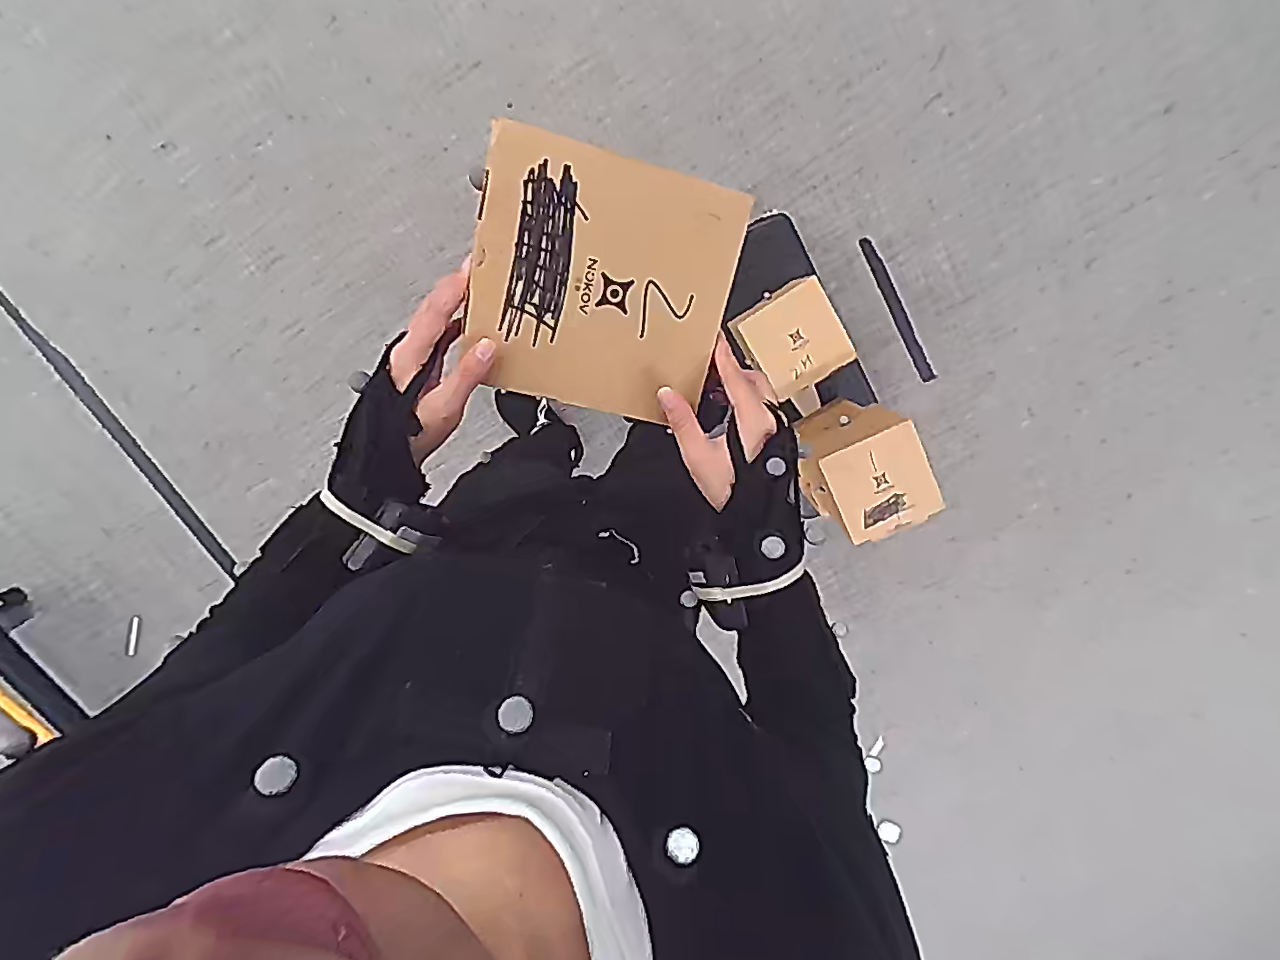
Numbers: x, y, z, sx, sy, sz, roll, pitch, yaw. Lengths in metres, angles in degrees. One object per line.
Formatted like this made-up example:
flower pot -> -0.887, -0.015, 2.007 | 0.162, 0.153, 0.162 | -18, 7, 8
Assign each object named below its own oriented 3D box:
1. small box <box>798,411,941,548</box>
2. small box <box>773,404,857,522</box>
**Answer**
small box -> 0.412, -0.008, 0.996 | 0.168, 0.176, 0.179 | -25, 103, 9
small box -> 0.408, -0.044, 1.157 | 0.179, 0.176, 0.168 | -31, 103, 11
